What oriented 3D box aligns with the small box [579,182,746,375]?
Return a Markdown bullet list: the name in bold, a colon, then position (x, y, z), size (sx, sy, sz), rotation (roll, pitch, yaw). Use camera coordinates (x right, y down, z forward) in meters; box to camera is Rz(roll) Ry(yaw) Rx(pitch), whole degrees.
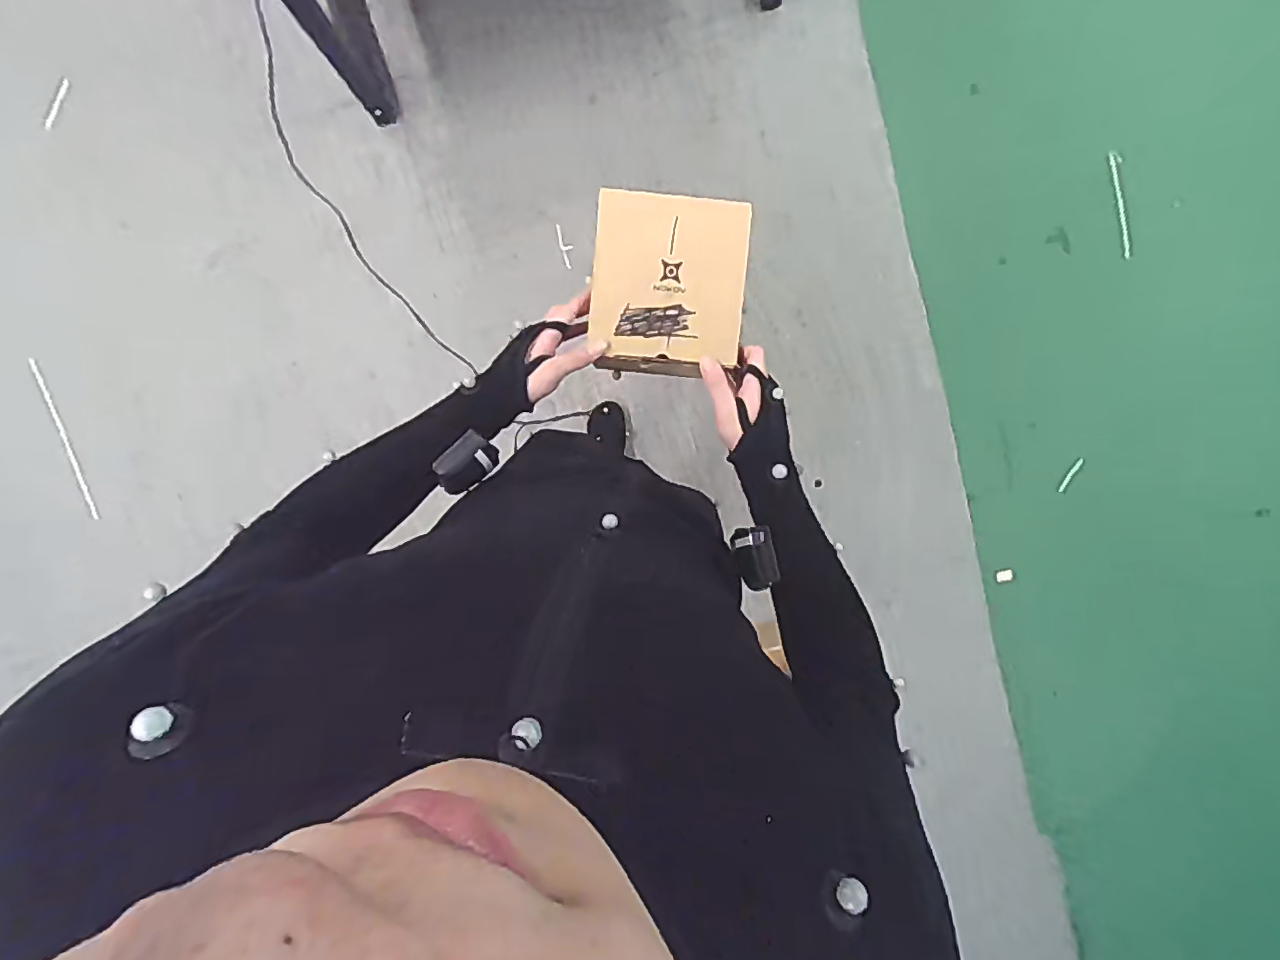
- **small box**: position (0.021, -0.226, 0.651), size (0.168, 0.176, 0.179), rotation (4, 95, -3)
